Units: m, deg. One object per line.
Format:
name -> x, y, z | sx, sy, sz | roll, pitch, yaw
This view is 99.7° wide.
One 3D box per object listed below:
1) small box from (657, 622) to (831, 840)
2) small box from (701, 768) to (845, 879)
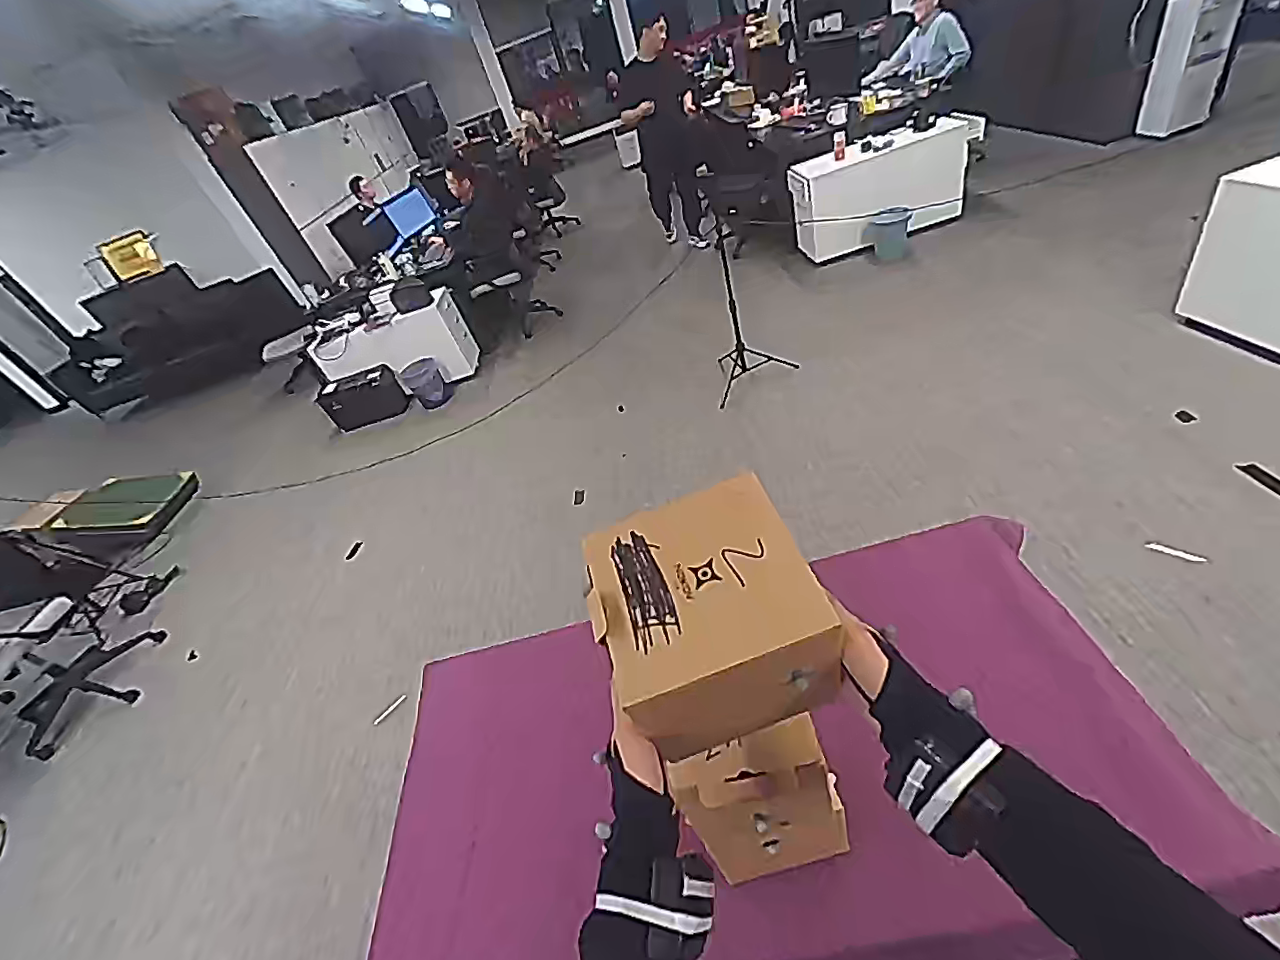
small box -> 0.125, 0.309, 0.668 | 0.168, 0.176, 0.179 | -15, 39, 8
small box -> 0.173, 0.432, 0.767 | 0.179, 0.176, 0.168 | -18, 39, 3
